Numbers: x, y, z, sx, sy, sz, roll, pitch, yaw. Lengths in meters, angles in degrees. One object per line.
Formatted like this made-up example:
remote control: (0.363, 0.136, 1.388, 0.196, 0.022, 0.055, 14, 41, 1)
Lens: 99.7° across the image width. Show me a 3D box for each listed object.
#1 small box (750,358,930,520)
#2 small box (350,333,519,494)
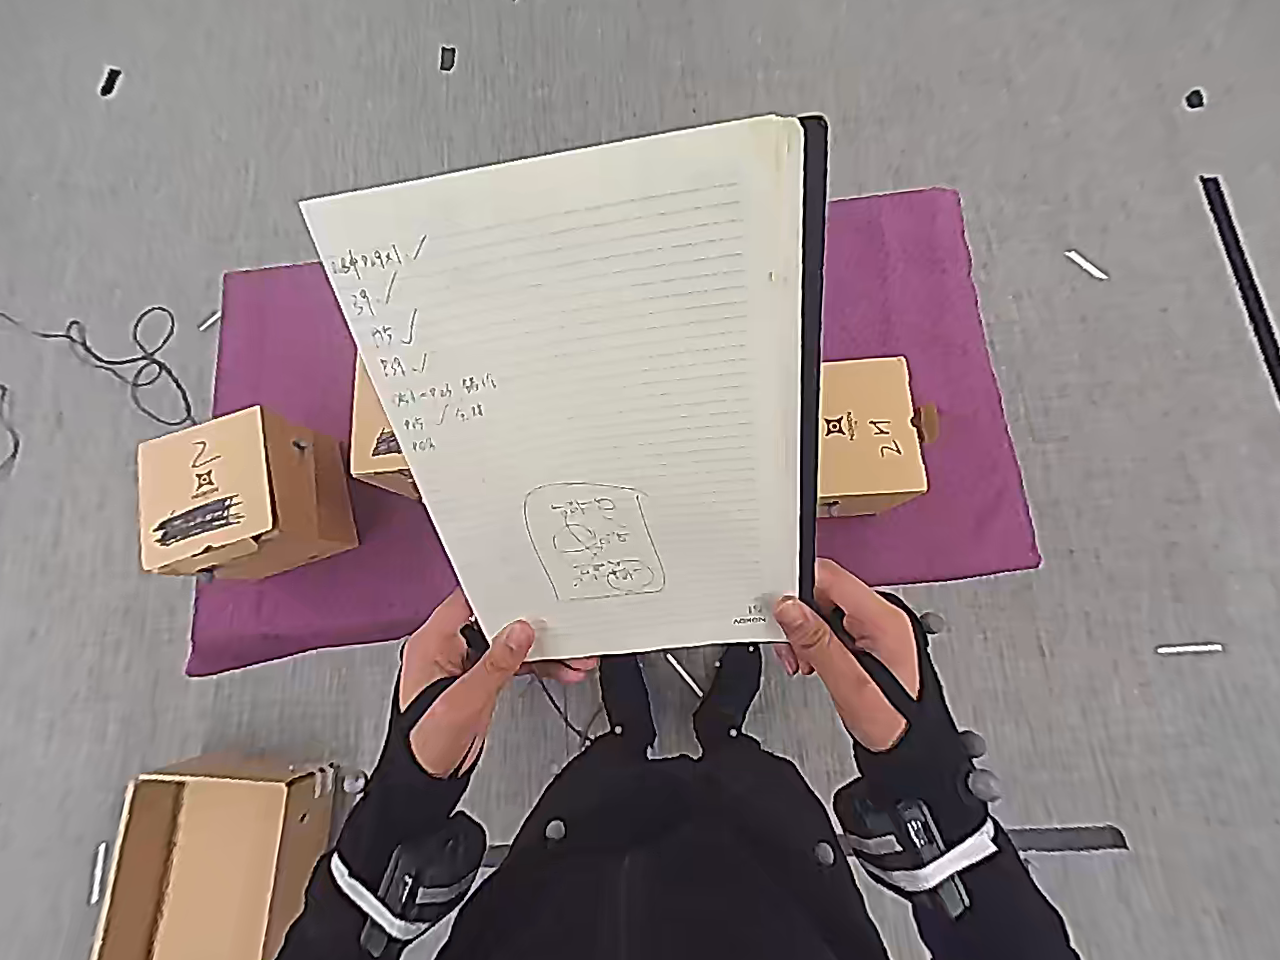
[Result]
small box: (0.240, -0.042, 0.701, 0.179, 0.176, 0.168, -3, 77, 3)
small box: (-0.270, -0.079, 0.747, 0.168, 0.176, 0.179, -4, 76, 3)
